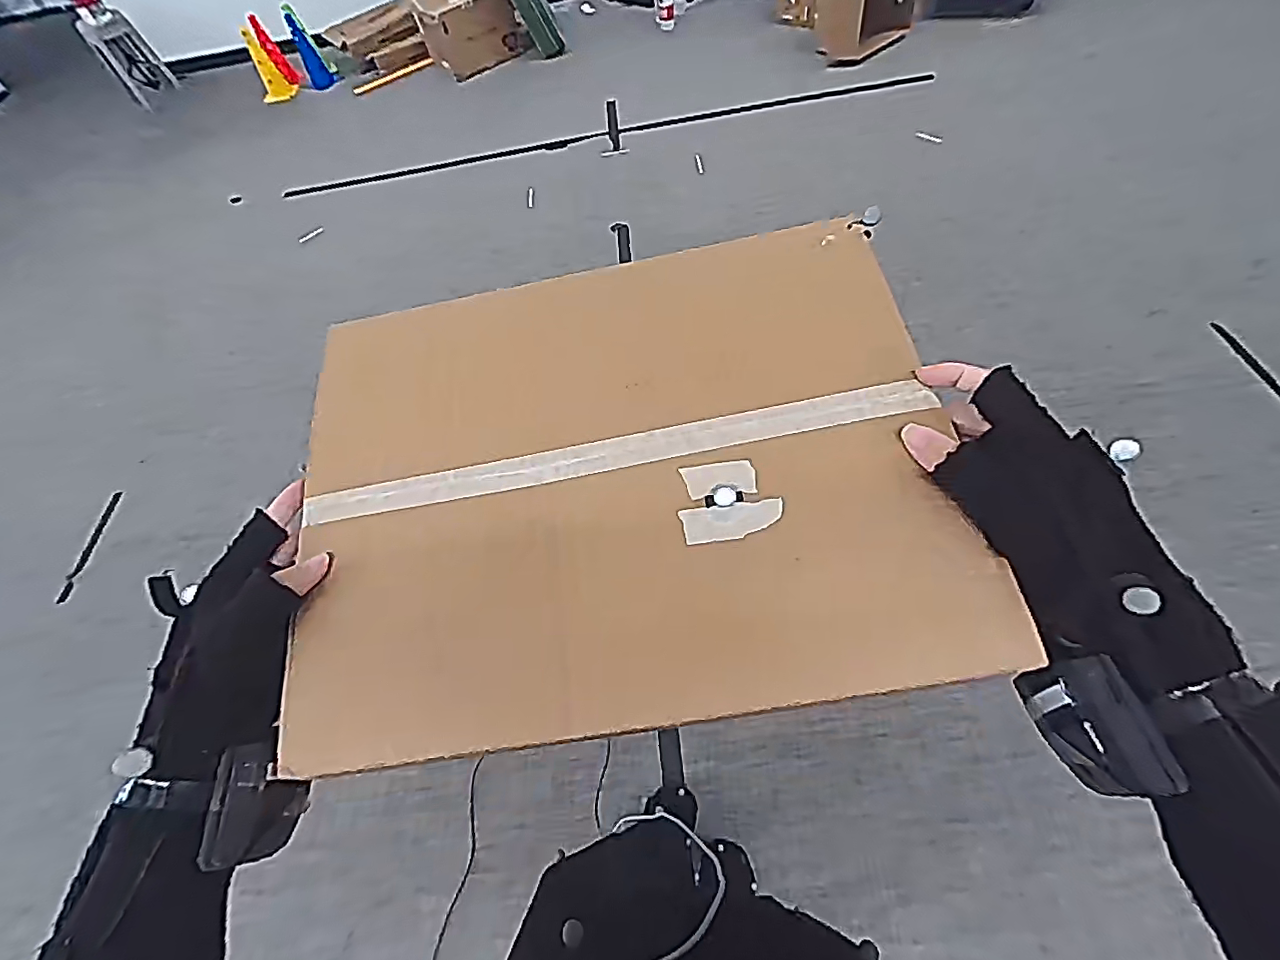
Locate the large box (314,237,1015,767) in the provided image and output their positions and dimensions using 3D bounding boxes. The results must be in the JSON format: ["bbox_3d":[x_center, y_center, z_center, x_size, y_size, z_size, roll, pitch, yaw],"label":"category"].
[{"bbox_3d":[0.003,0.048,0.493,0.408,0.320,0.320,-10,67,3],"label":"large box"}]
